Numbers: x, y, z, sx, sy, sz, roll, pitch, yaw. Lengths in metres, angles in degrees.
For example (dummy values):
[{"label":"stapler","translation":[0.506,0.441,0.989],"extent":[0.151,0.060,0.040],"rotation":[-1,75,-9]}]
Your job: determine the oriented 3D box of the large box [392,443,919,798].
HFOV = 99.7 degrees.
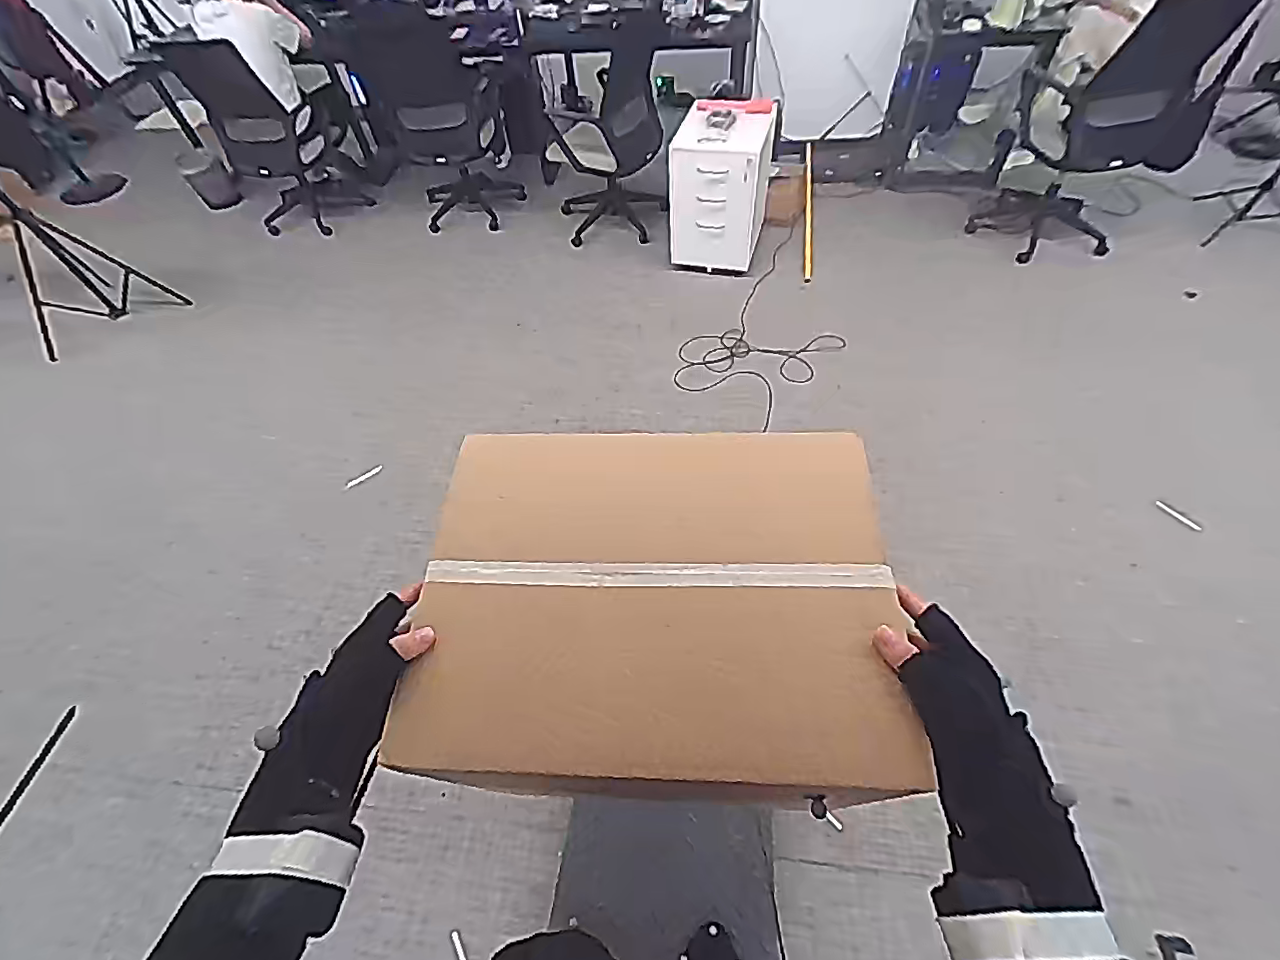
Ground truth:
[{"label":"large box","translation":[0.020,0.172,0.606],"extent":[0.408,0.320,0.320],"rotation":[0,57,4]}]
